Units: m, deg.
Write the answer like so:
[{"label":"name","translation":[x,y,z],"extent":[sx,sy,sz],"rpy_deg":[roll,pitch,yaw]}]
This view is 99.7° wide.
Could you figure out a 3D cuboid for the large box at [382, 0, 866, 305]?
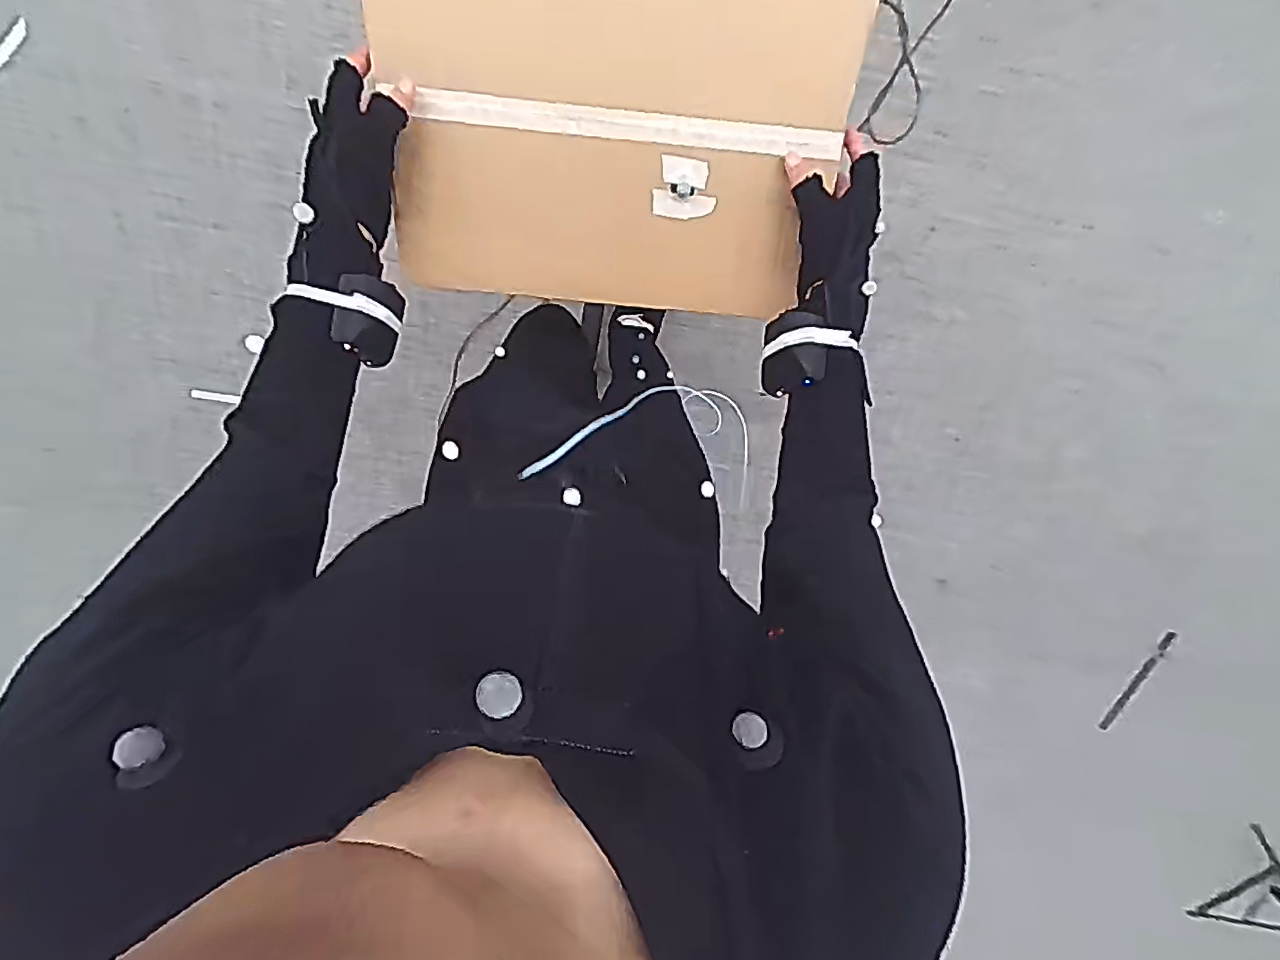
[{"label":"large box","translation":[-0.023,-0.405,0.611],"extent":[0.408,0.320,0.320],"rpy_deg":[4,123,-4]}]
